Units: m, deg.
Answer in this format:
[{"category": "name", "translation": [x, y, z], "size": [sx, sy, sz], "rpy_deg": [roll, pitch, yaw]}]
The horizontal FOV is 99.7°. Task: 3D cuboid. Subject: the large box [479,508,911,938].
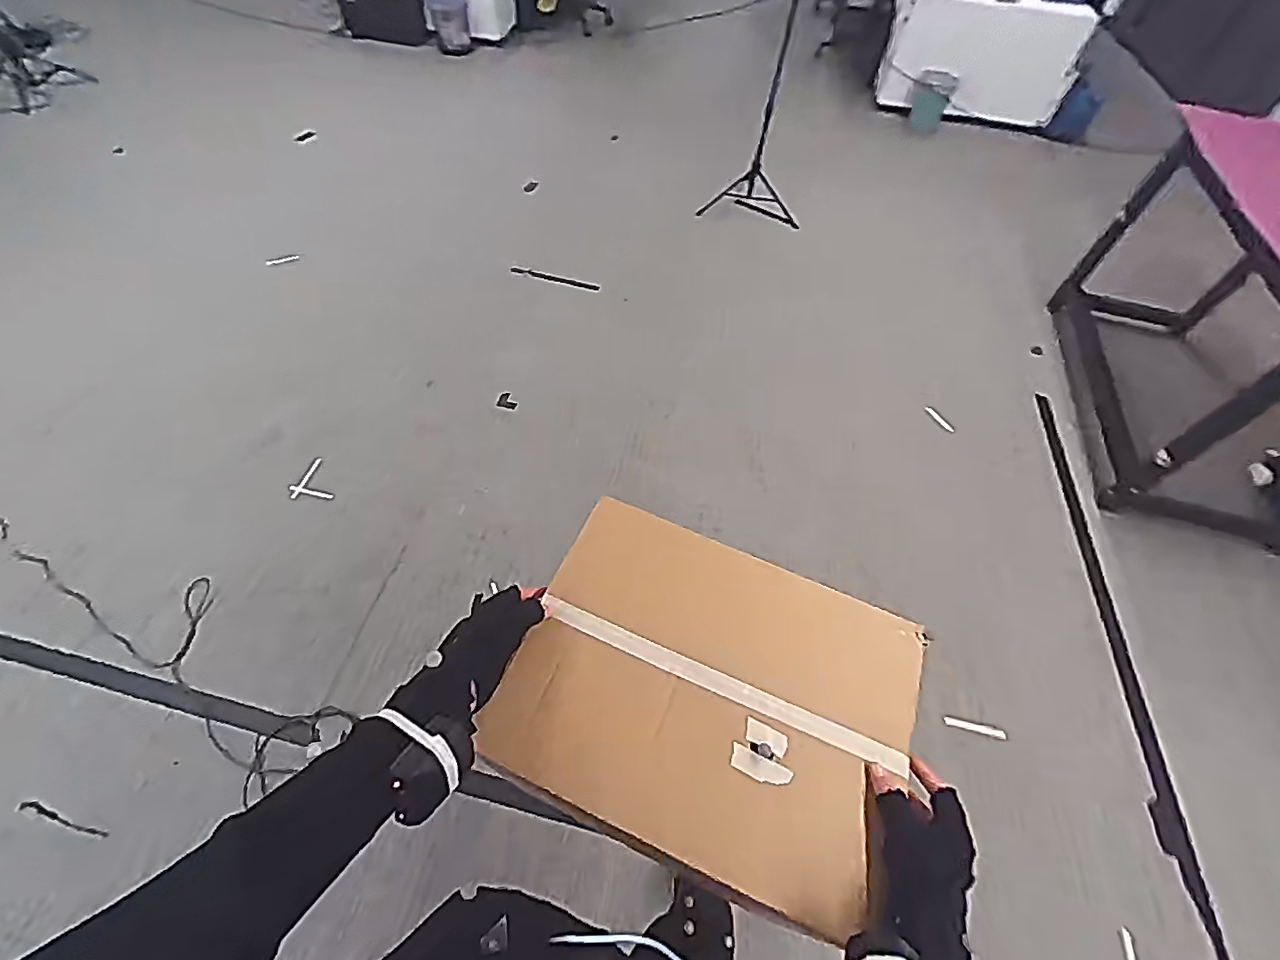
[{"category": "large box", "translation": [0.065, 0.299, 0.702], "size": [0.408, 0.320, 0.320], "rpy_deg": [22, 58, 9]}]
